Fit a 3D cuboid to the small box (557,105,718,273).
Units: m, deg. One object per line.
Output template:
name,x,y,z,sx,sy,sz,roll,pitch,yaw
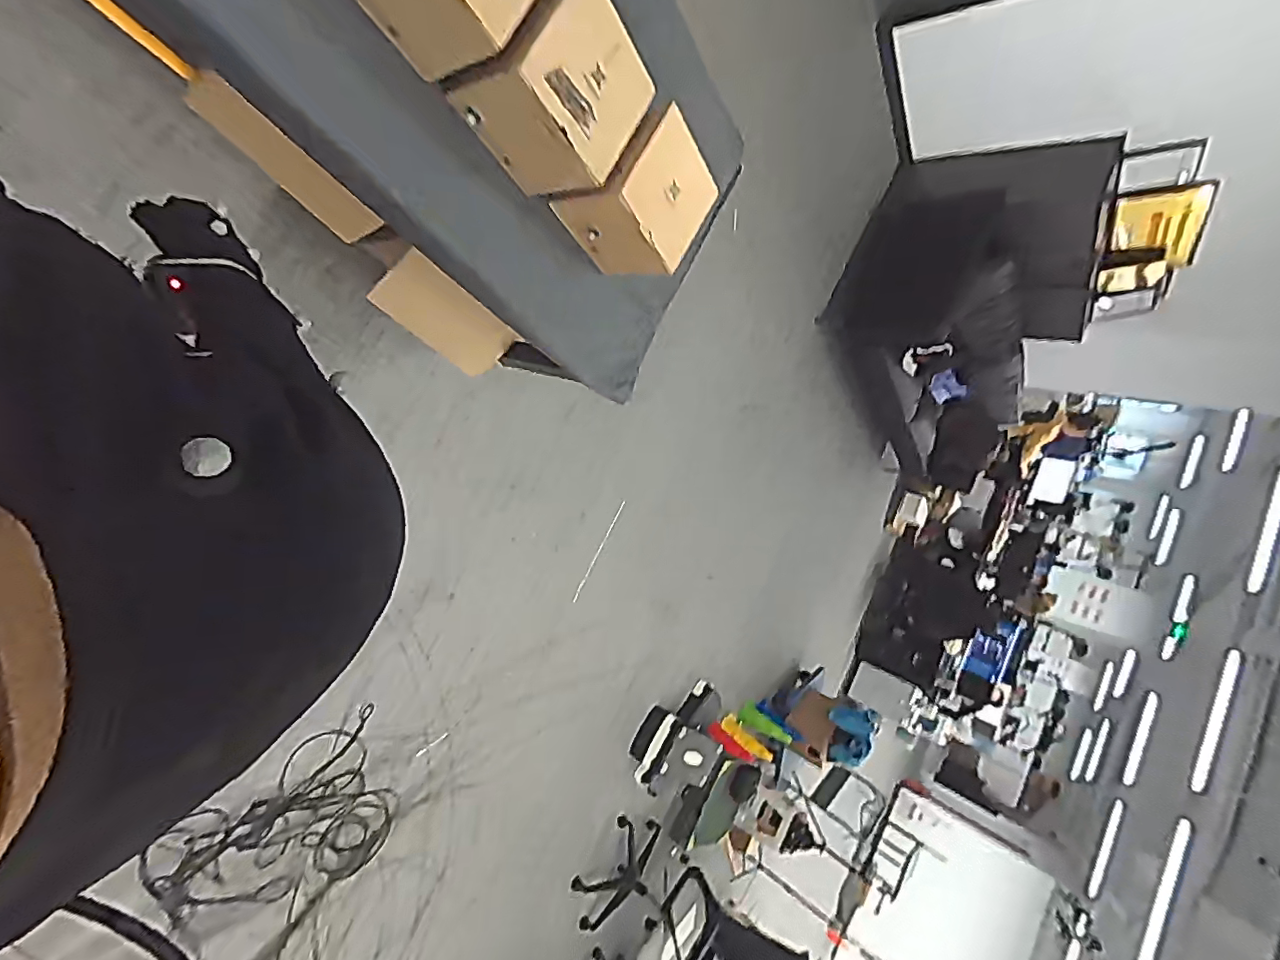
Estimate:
small box,-0.005,-0.468,0.888,0.168,0.176,0.179,39,76,-49
